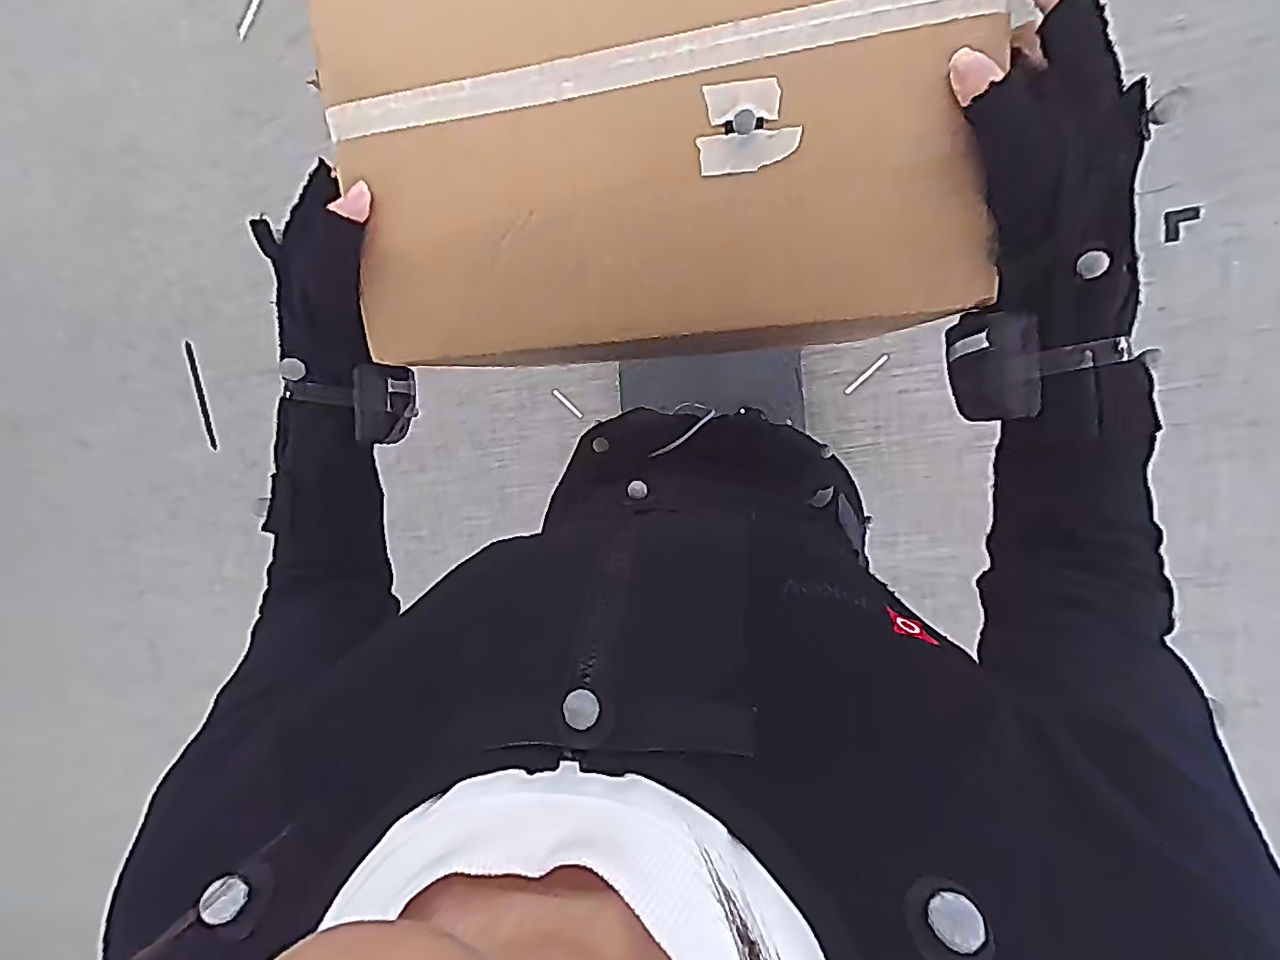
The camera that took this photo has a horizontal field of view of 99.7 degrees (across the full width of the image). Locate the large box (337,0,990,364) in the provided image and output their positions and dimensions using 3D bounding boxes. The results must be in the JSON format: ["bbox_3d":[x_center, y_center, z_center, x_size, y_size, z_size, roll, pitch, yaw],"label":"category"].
[{"bbox_3d":[0.024,-0.281,0.479,0.408,0.320,0.320,-3,101,11],"label":"large box"}]
